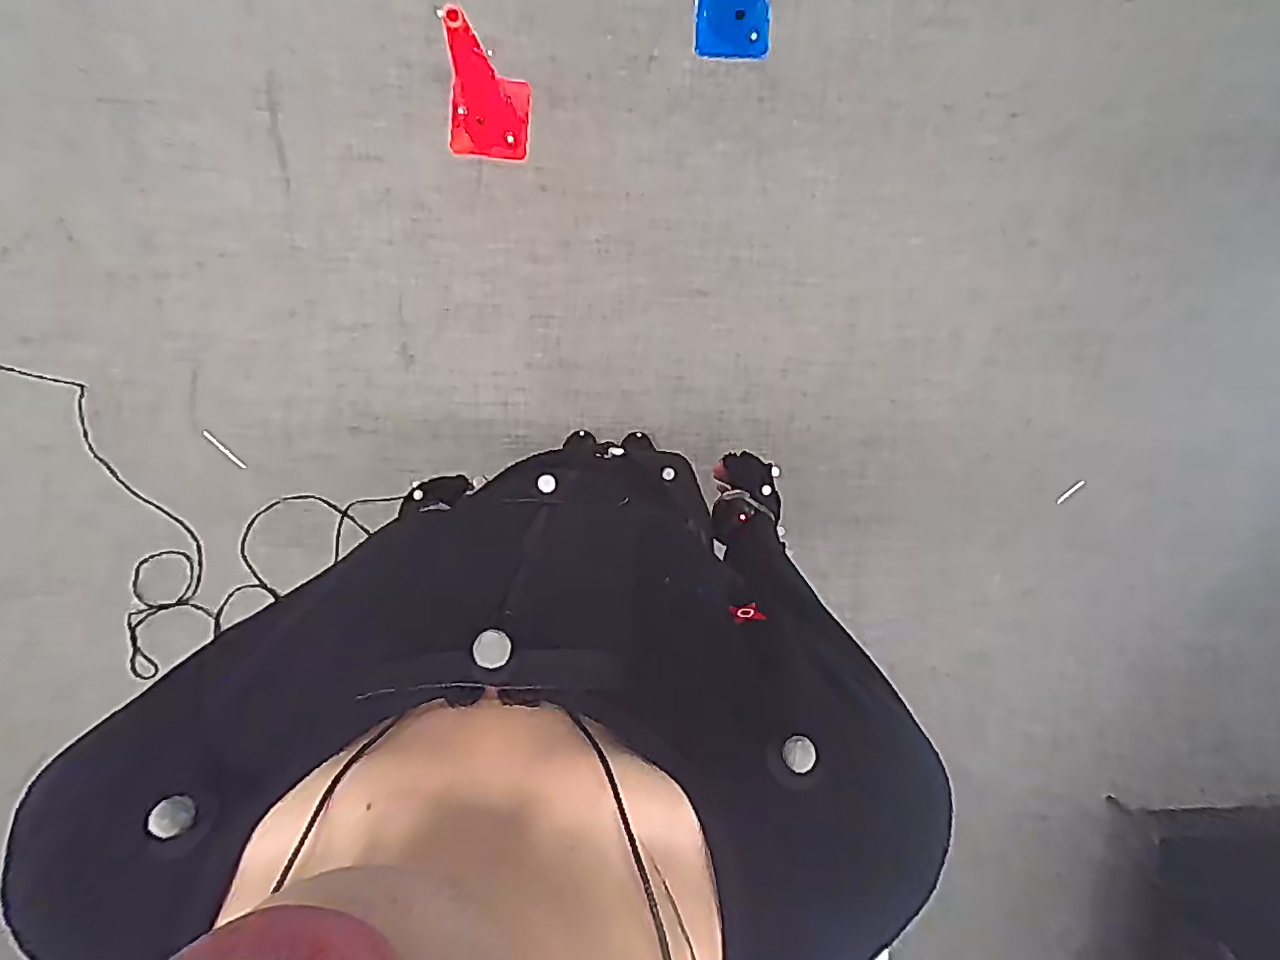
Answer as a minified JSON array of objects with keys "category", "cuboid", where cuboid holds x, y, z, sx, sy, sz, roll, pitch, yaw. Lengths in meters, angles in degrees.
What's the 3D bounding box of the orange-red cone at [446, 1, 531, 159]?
[{"category":"orange-red cone","cuboid":[-0.375,-0.933,1.229,0.198,0.360,0.199,5,94,-5]}]
